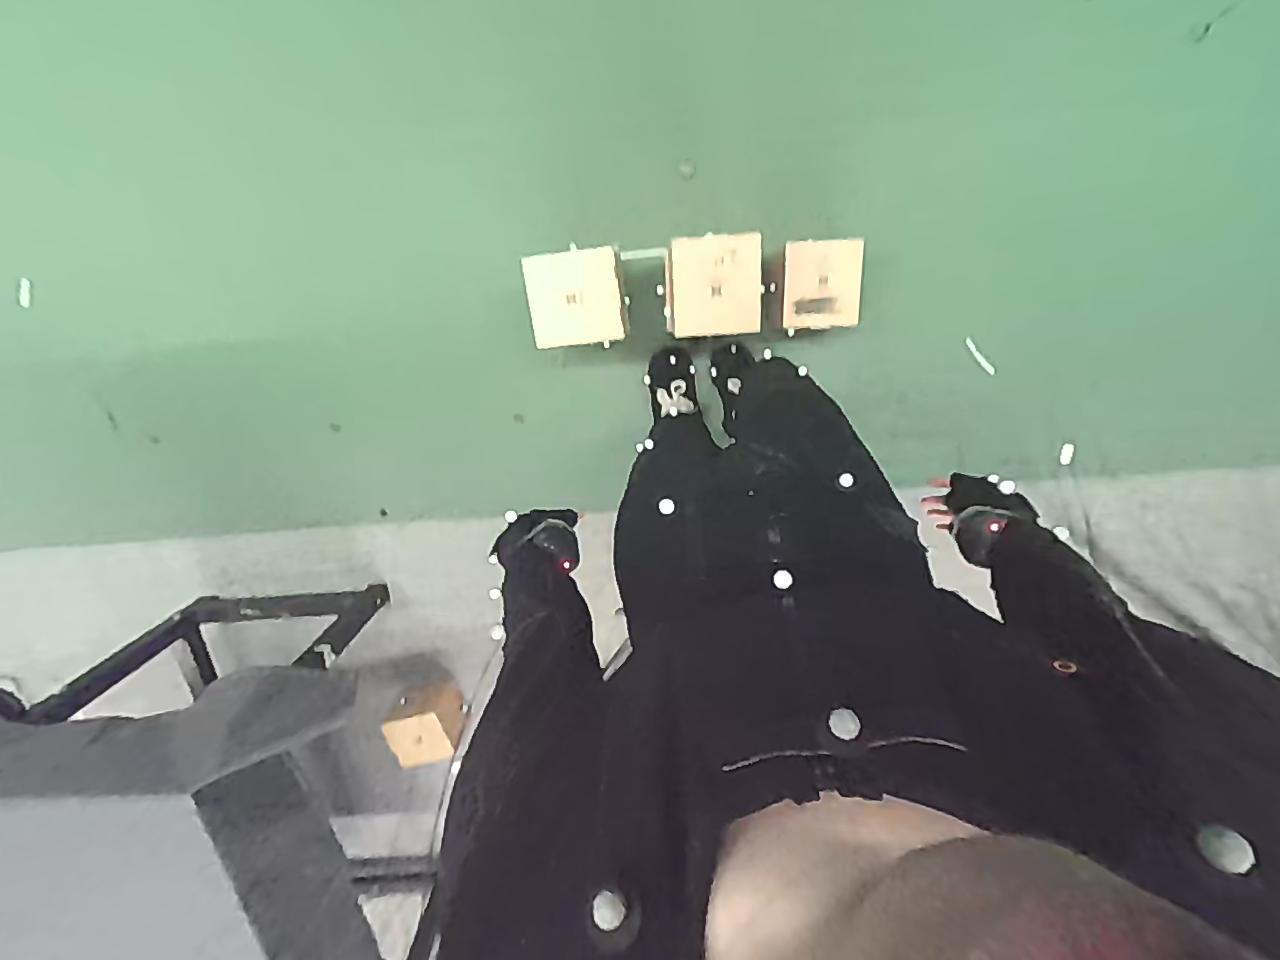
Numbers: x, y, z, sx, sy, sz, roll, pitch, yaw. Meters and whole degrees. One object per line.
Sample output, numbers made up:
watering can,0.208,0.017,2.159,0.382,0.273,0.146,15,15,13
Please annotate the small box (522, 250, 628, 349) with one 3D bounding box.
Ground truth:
small box,-0.123,-0.362,1.100,0.179,0.176,0.168,-6,107,3

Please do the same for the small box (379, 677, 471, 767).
small box,-0.644,0.729,1.639,0.179,0.176,0.168,-15,108,7

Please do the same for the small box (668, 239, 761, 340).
small box,0.143,-0.380,1.086,0.168,0.176,0.179,-3,108,1
